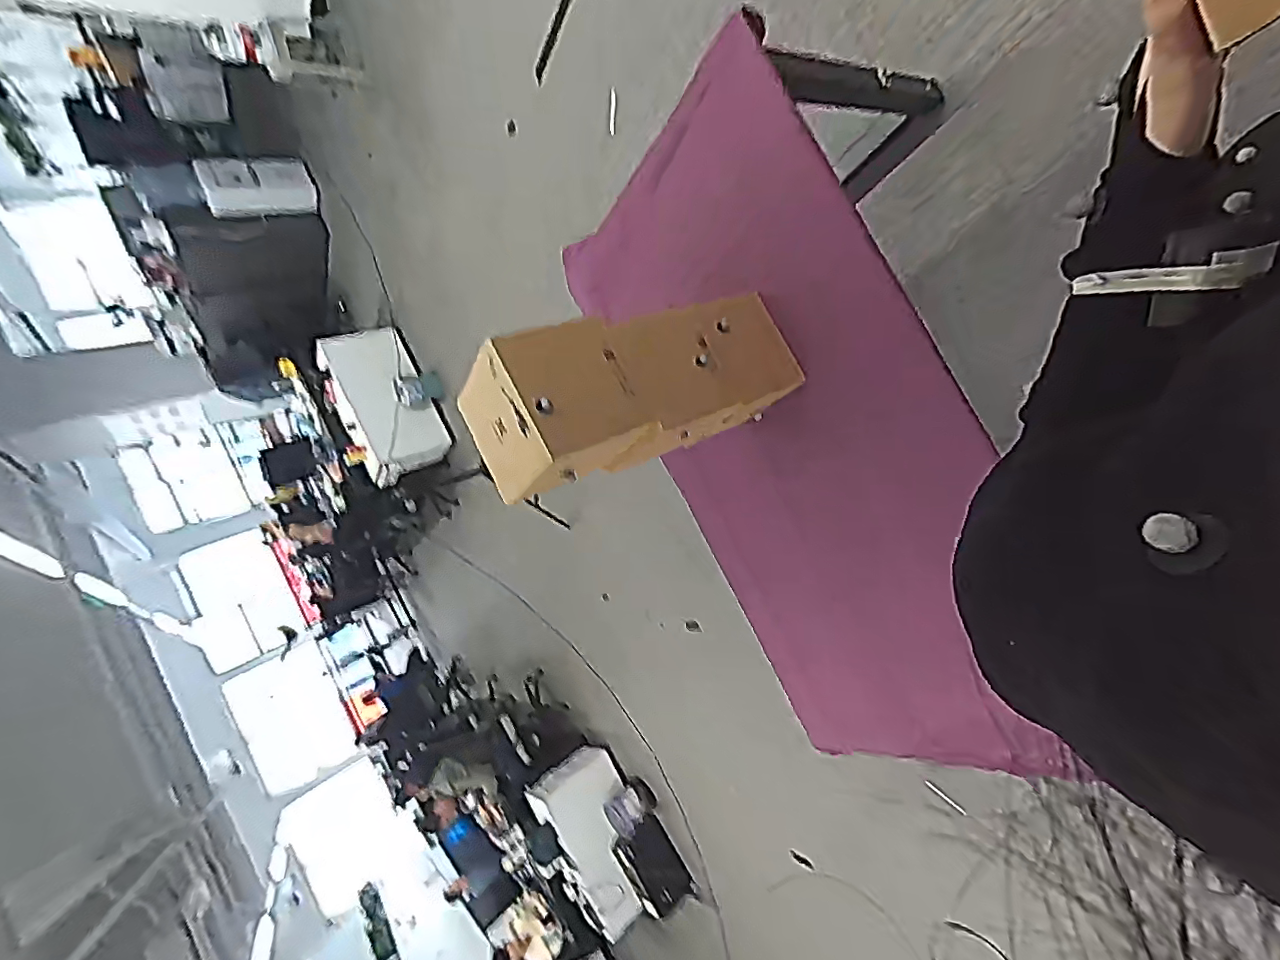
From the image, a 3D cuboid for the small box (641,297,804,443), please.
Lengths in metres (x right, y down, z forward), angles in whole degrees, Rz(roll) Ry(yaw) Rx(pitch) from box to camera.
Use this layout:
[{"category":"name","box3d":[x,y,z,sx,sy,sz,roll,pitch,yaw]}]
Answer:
[{"category":"small box","box3d":[0.139,-0.191,0.918,0.179,0.176,0.168,61,146,4]}]

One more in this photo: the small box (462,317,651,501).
[{"category":"small box","box3d":[-0.114,-0.095,0.731,0.168,0.176,0.179,61,145,5]}]
